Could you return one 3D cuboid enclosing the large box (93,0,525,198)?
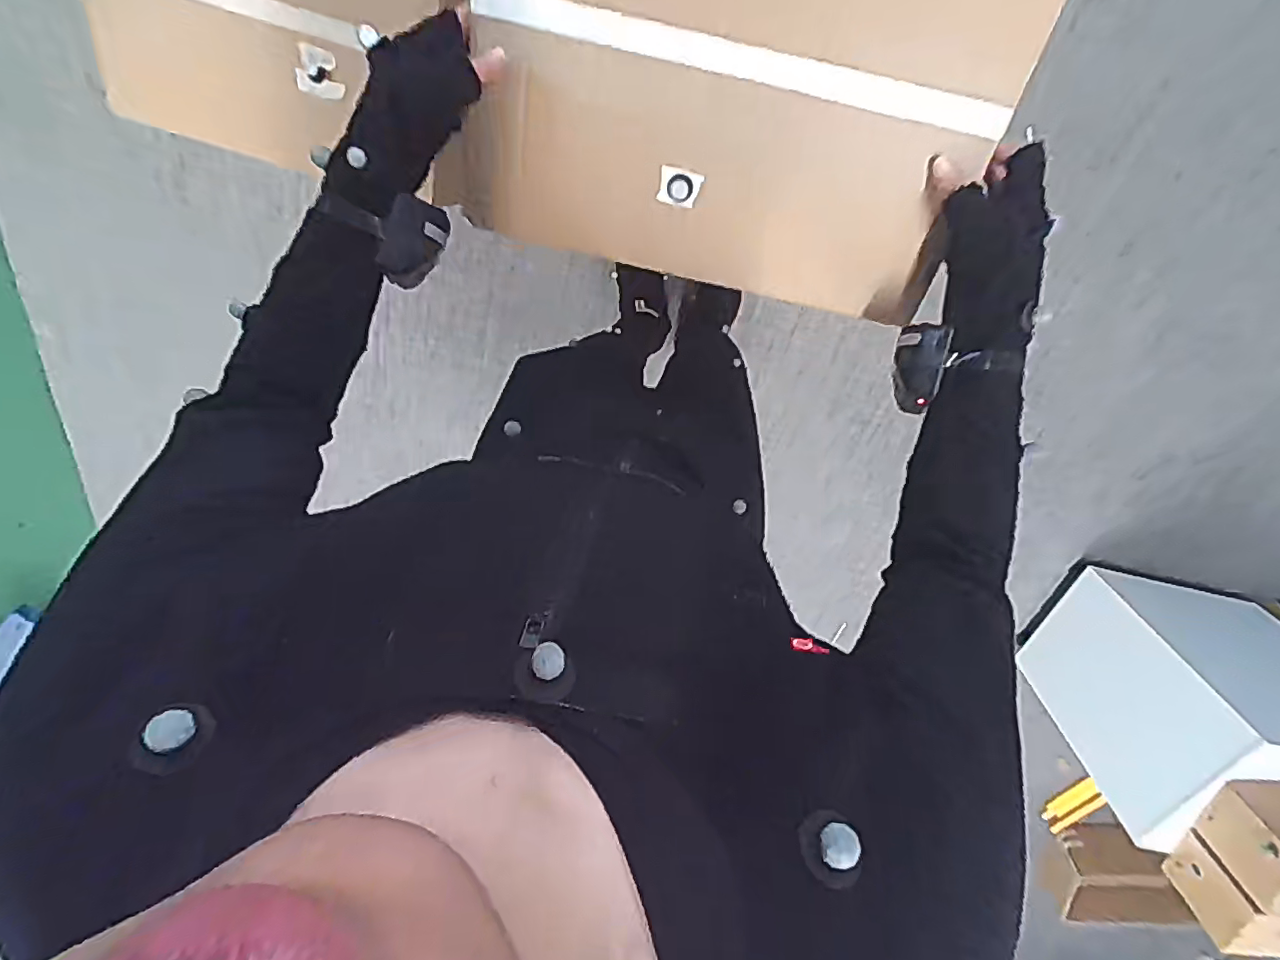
[{"bbox_3d":[-0.402,-0.607,0.727,0.408,0.320,0.320,15,121,-5],"label":"large box"}]
